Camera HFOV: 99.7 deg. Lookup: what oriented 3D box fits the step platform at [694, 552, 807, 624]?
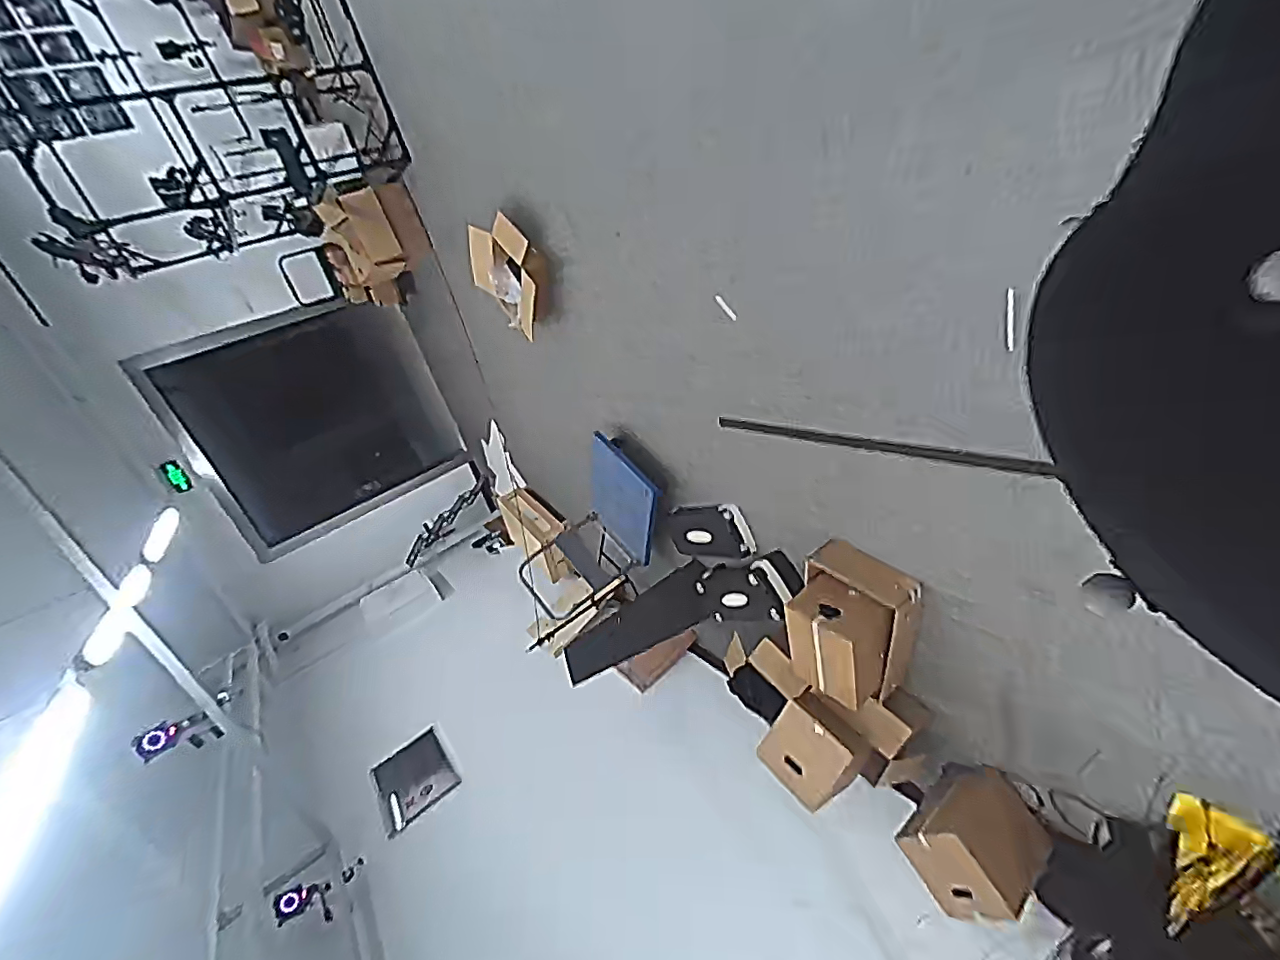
[{"bbox_3d":[0.551,0.586,2.846,0.286,0.204,0.684,58,153,2],"label":"step platform"}]
